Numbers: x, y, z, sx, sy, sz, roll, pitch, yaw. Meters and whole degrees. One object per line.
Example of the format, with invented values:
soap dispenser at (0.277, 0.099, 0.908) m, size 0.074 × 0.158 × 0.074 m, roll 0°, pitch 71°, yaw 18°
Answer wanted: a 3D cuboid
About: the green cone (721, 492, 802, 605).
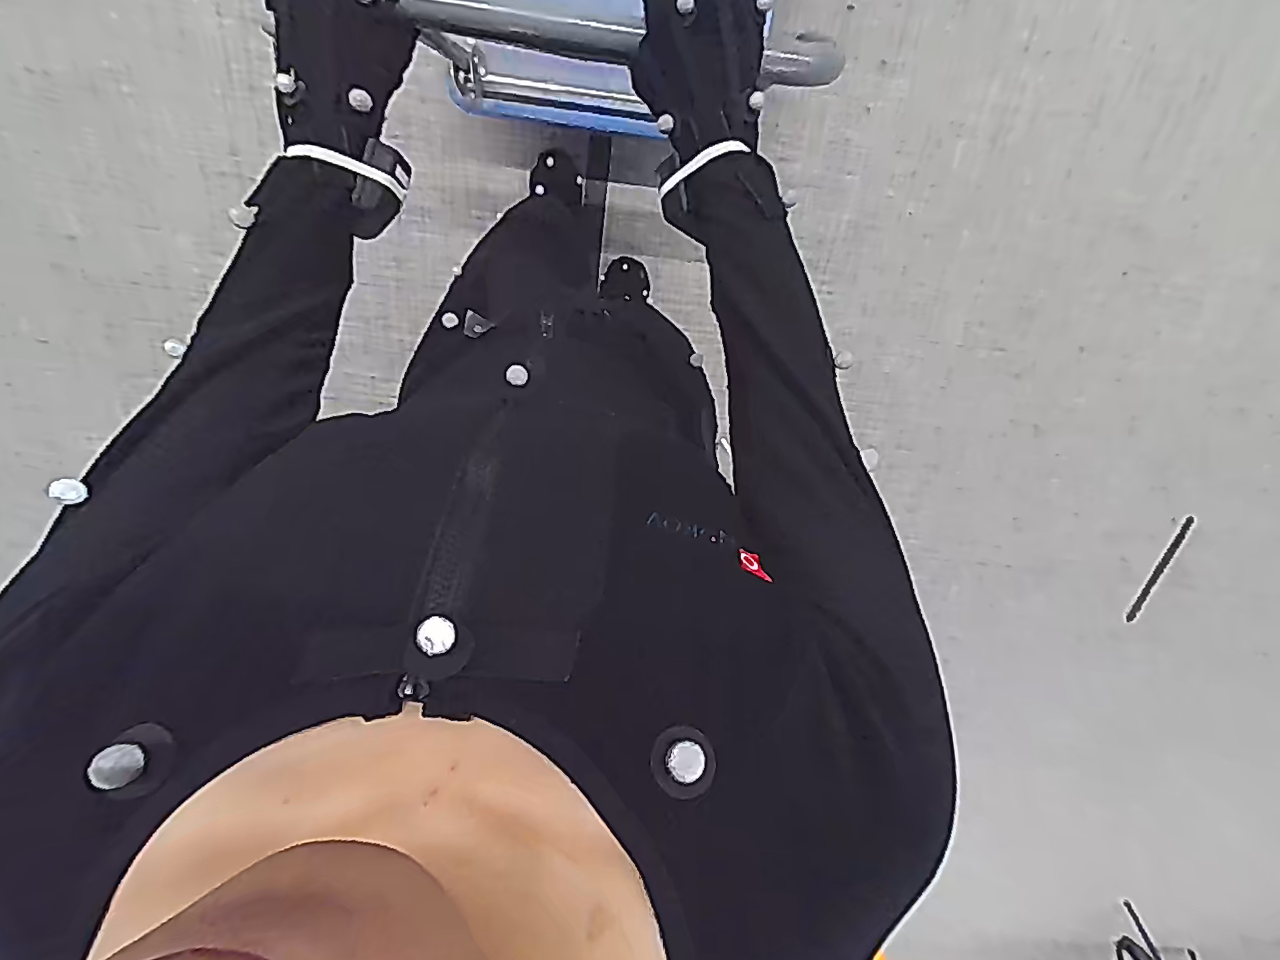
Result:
green cone at (0.358, 0.209, 1.452) m, size 0.202 × 0.368 × 0.200 m, roll 10°, pitch 116°, yaw -6°
